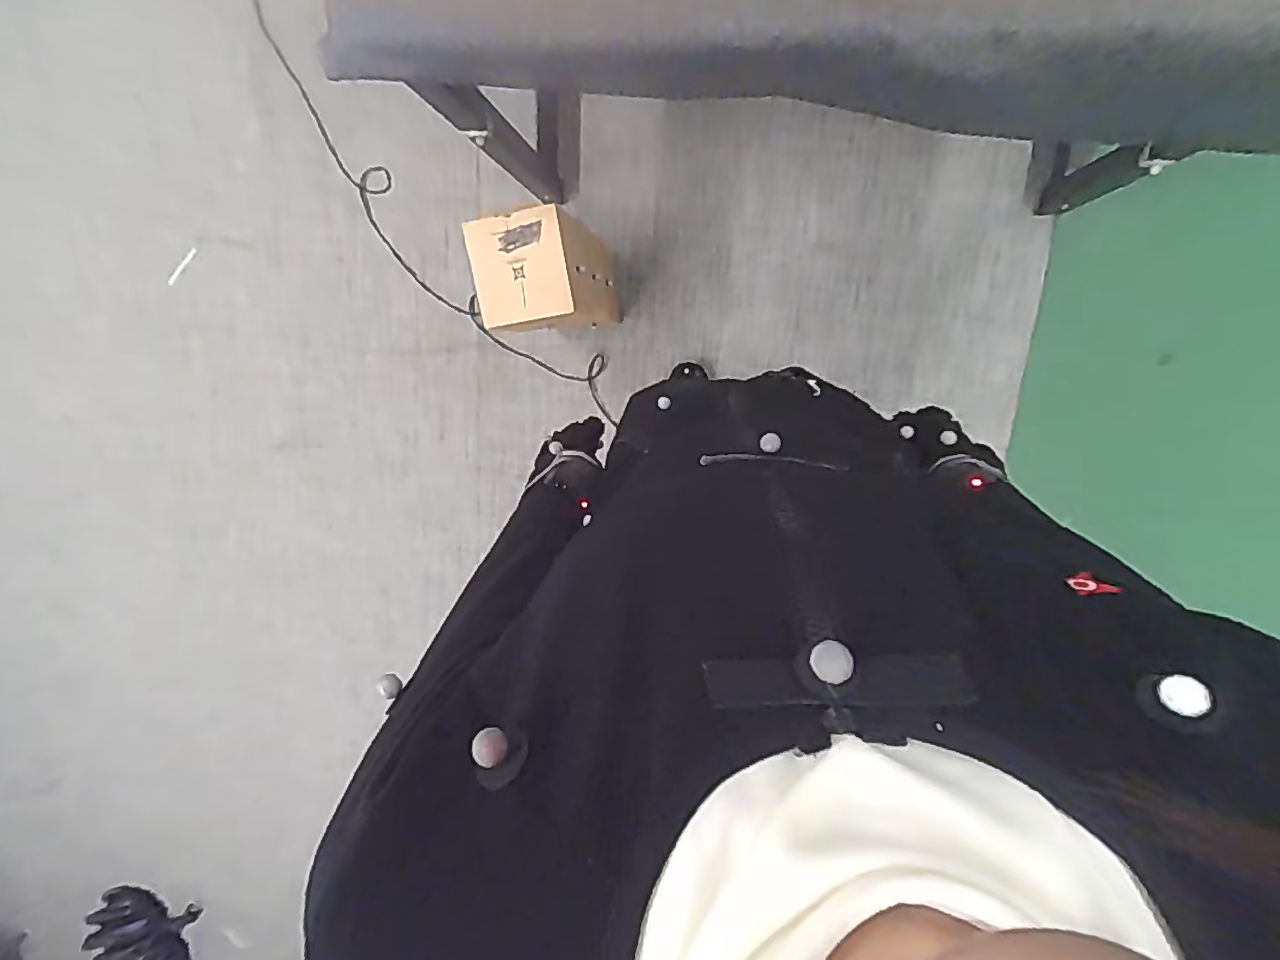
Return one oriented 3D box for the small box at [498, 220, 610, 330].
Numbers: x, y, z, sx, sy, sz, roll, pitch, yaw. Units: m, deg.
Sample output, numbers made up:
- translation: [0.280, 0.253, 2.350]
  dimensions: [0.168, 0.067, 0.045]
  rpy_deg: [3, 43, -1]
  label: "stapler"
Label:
- translation: [-0.172, -0.421, 1.144]
  dimensions: [0.168, 0.176, 0.179]
  rpy_deg: [-10, 100, 13]
  label: "small box"
